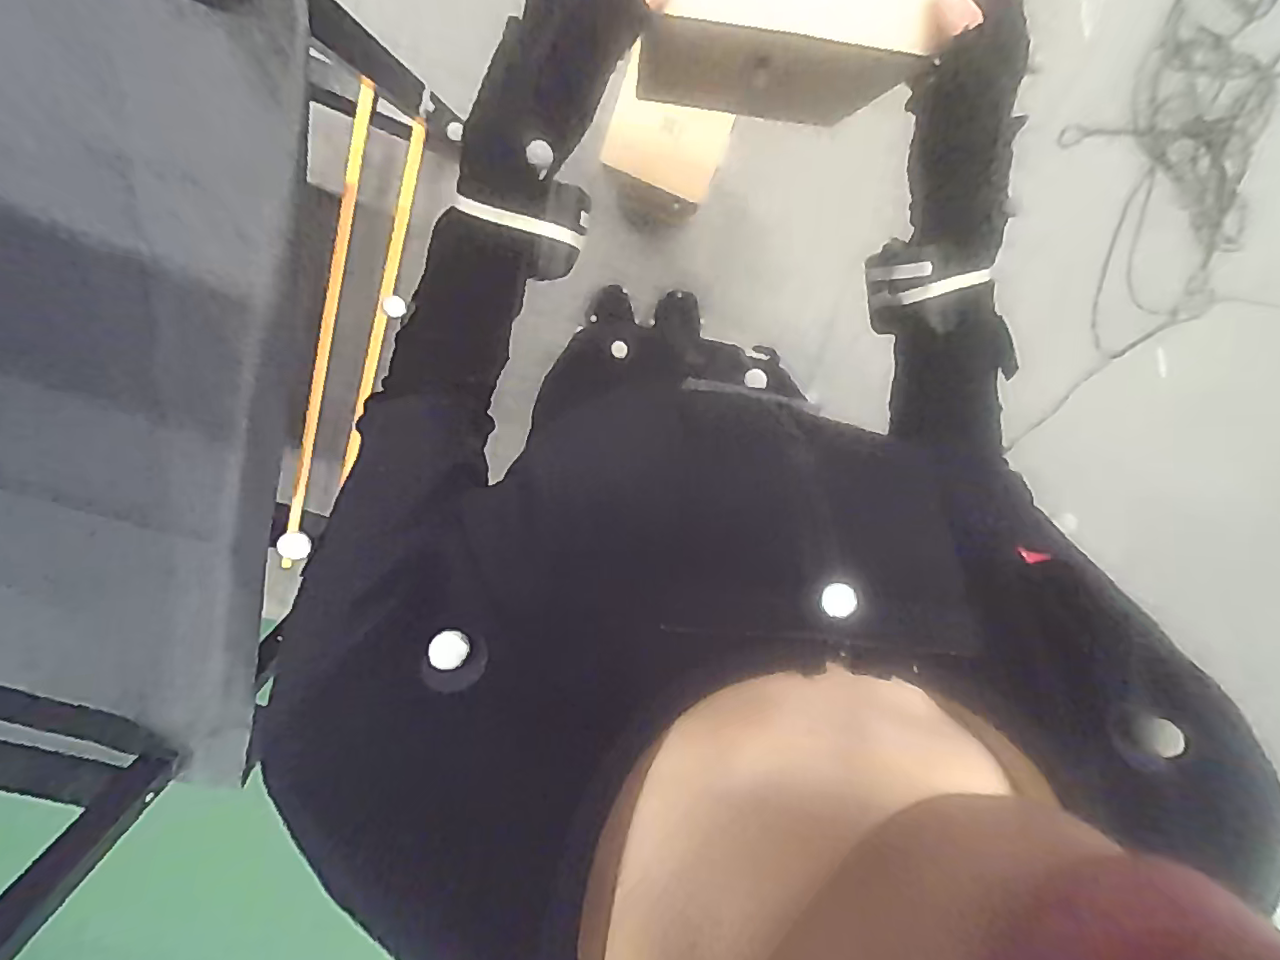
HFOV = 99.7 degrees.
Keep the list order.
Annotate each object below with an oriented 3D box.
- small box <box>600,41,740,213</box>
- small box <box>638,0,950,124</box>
[{"bbox_3d":[0.048,-0.551,0.875,0.179,0.176,0.168,20,110,-8],"label":"small box"},{"bbox_3d":[0.093,-0.357,0.358,0.179,0.176,0.168,5,112,-5],"label":"small box"}]
